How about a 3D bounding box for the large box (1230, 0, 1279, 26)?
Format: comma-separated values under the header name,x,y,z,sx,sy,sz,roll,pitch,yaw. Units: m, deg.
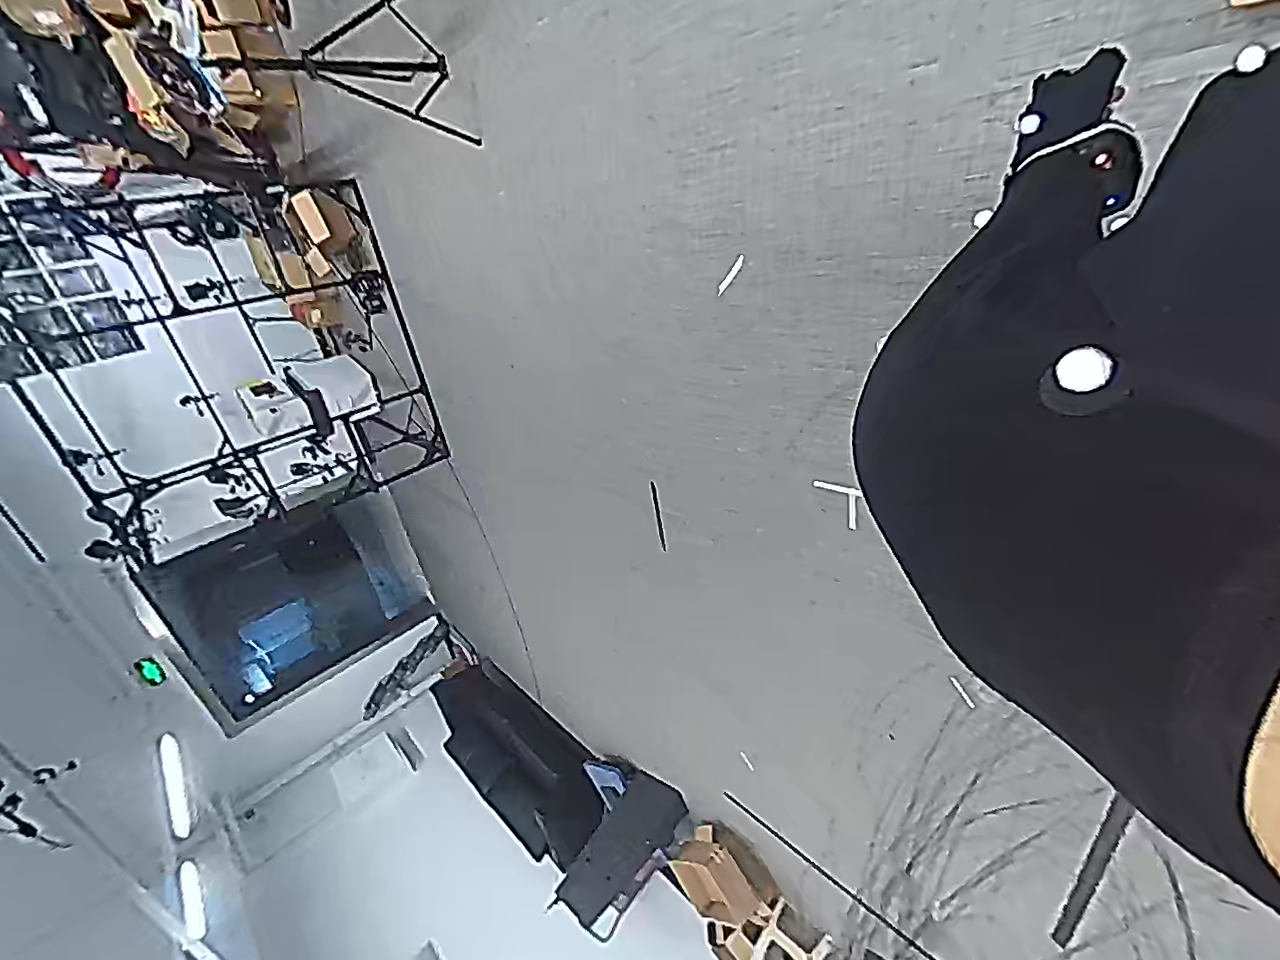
name,x,y,z,sx,sy,sz,roll,pitch,yaw
large box,0.987,-0.758,0.589,0.408,0.320,0.320,20,130,42
